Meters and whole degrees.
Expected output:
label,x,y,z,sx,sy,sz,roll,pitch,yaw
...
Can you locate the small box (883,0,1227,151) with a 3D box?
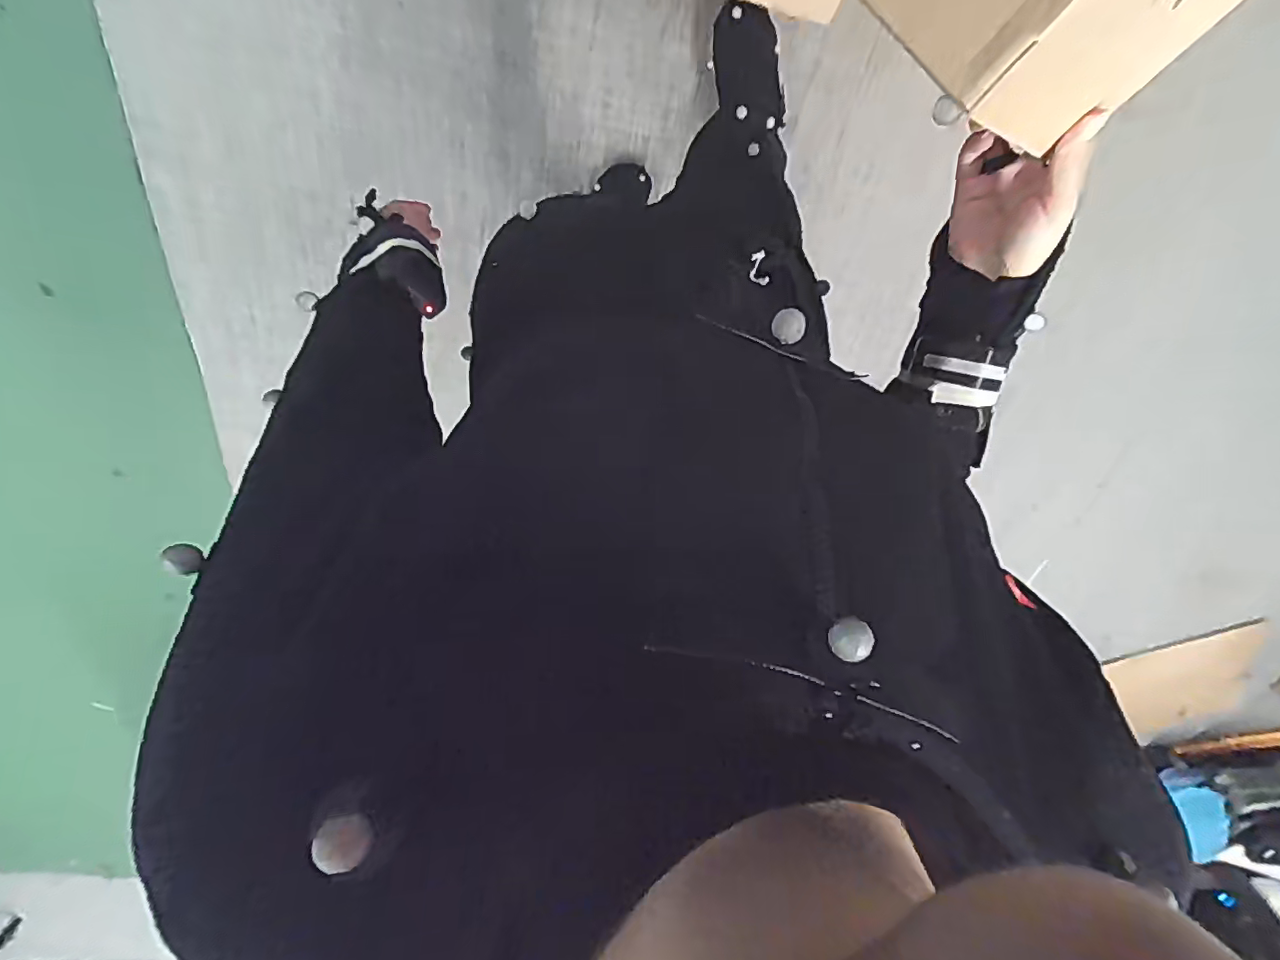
label,x,y,z,sx,sy,sz,roll,pitch,yaw
small box,0.204,-0.296,0.251,0.179,0.176,0.168,-19,162,-41
